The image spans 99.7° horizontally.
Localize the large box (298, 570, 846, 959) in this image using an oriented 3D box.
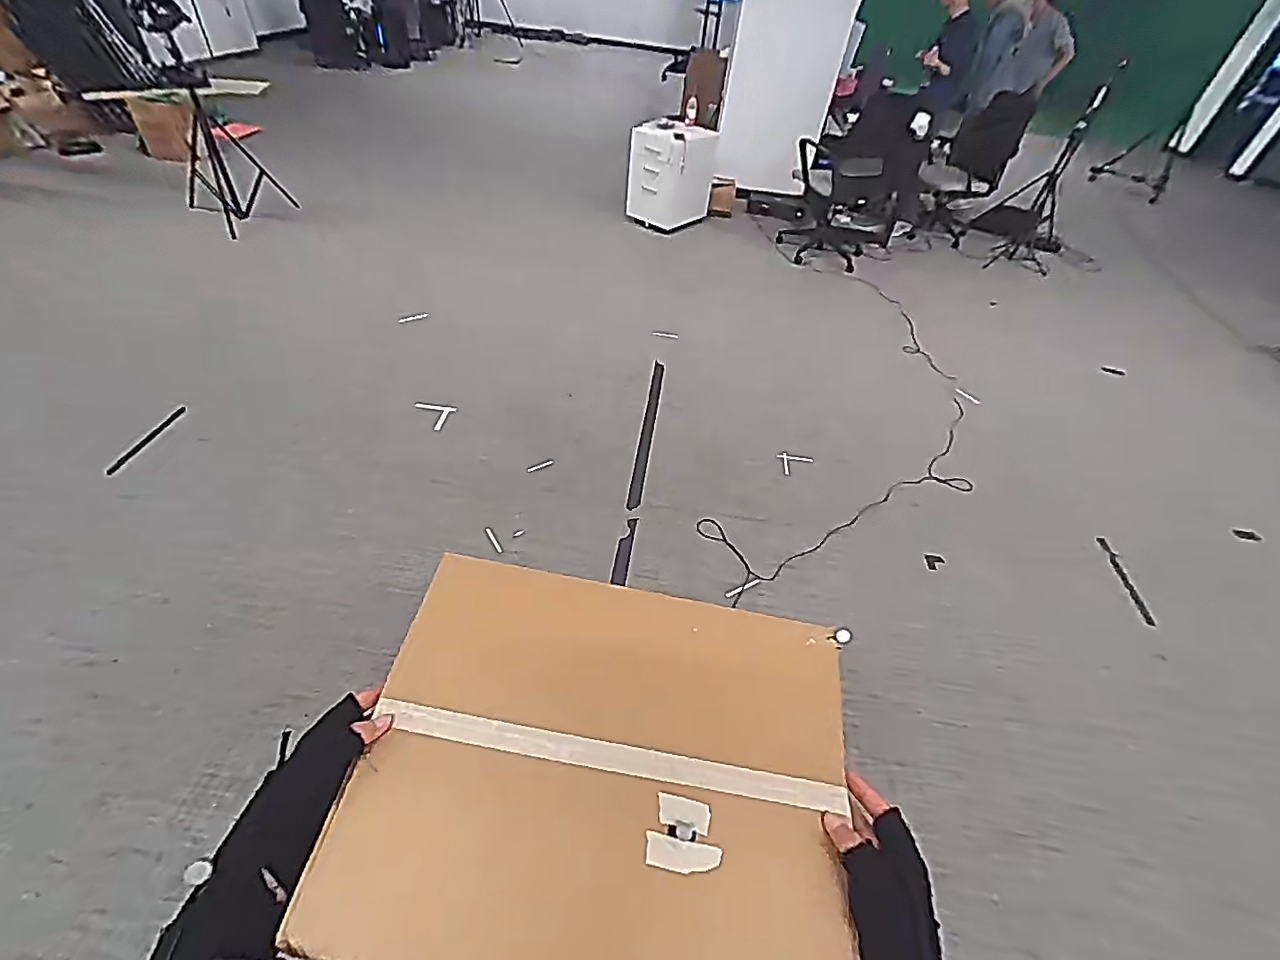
[{"bbox_3d":[-0.044,0.334,0.584,0.408,0.320,0.320,11,53,0],"label":"large box"}]
